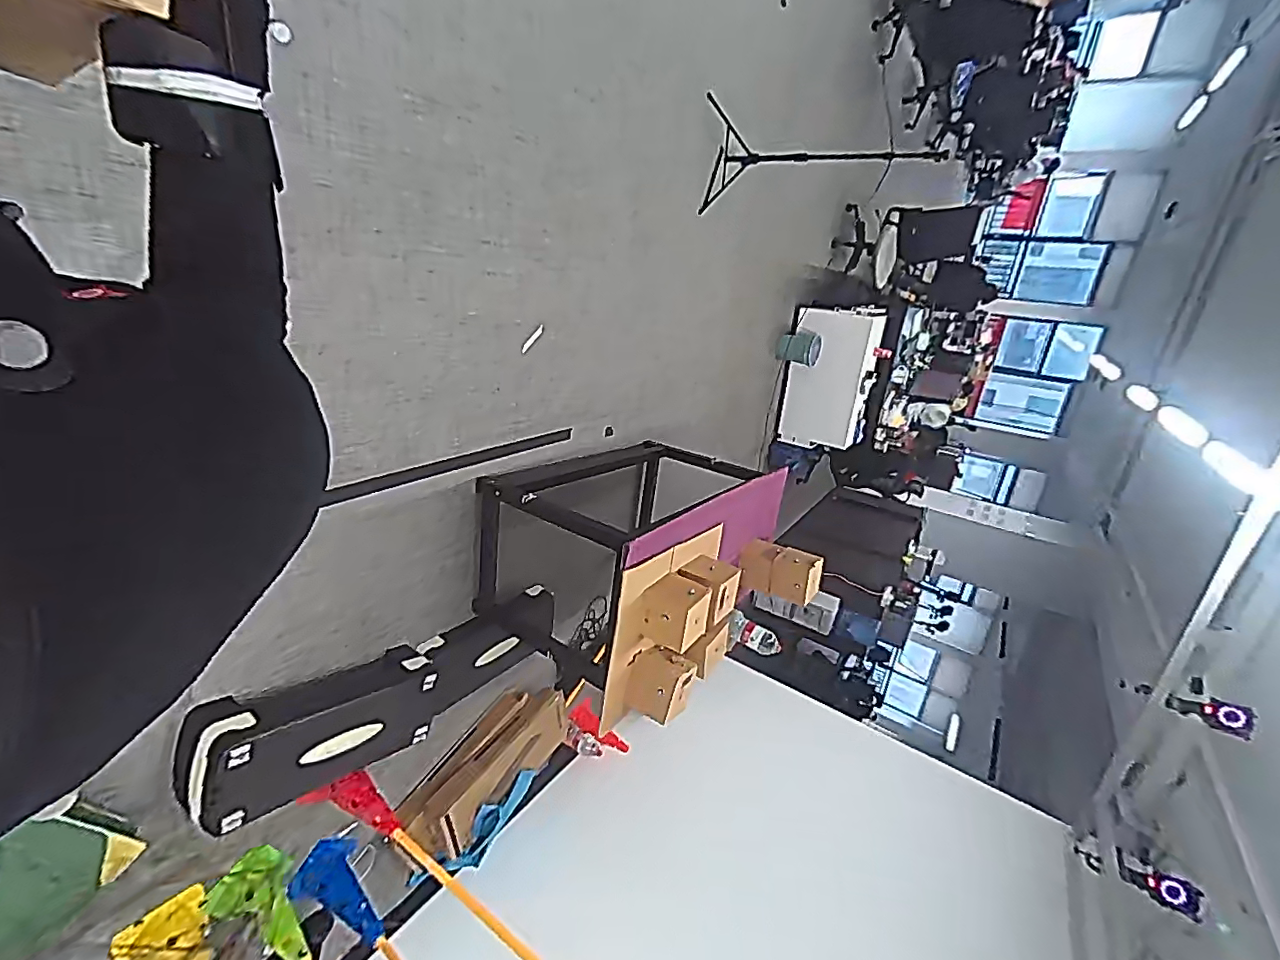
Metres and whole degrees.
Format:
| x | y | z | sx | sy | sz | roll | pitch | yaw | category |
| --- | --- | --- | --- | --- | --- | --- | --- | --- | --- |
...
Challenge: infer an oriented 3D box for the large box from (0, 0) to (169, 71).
| x | y | z | sx | sy | sz | roll | pitch | yaw | category |
| --- | --- | --- | --- | --- | --- | --- | --- | --- | --- |
| -0.494 | -0.441 | 0.206 | 0.408 | 0.320 | 0.320 | -11 | 115 | -55 | large box |
